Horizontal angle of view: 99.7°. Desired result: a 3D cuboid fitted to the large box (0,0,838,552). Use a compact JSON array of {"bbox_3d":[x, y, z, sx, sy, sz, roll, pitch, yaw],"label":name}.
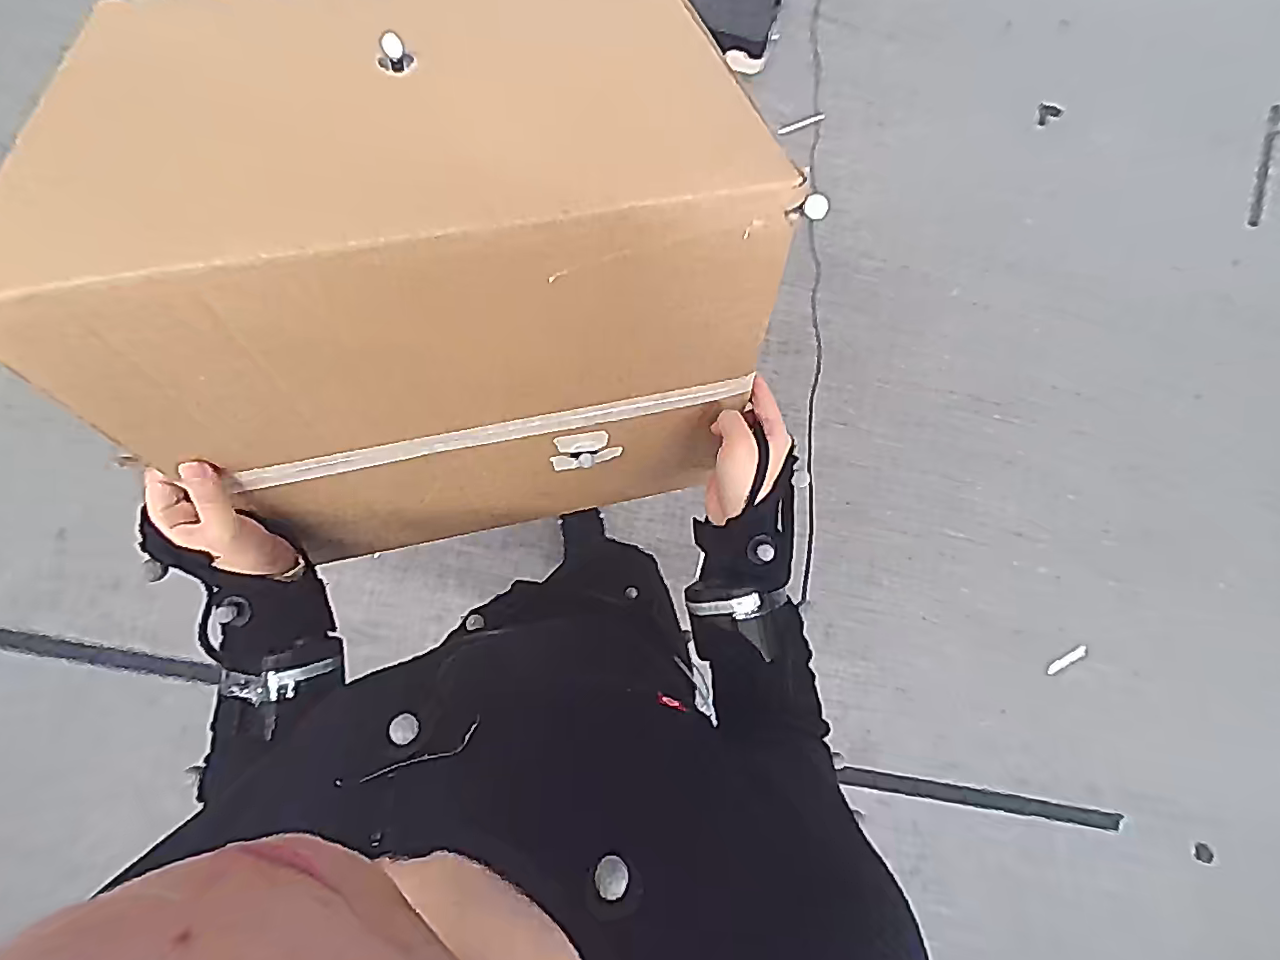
[{"bbox_3d":[-0.130,-0.179,0.444,0.408,0.320,0.320,-12,62,-7],"label":"large box"}]
